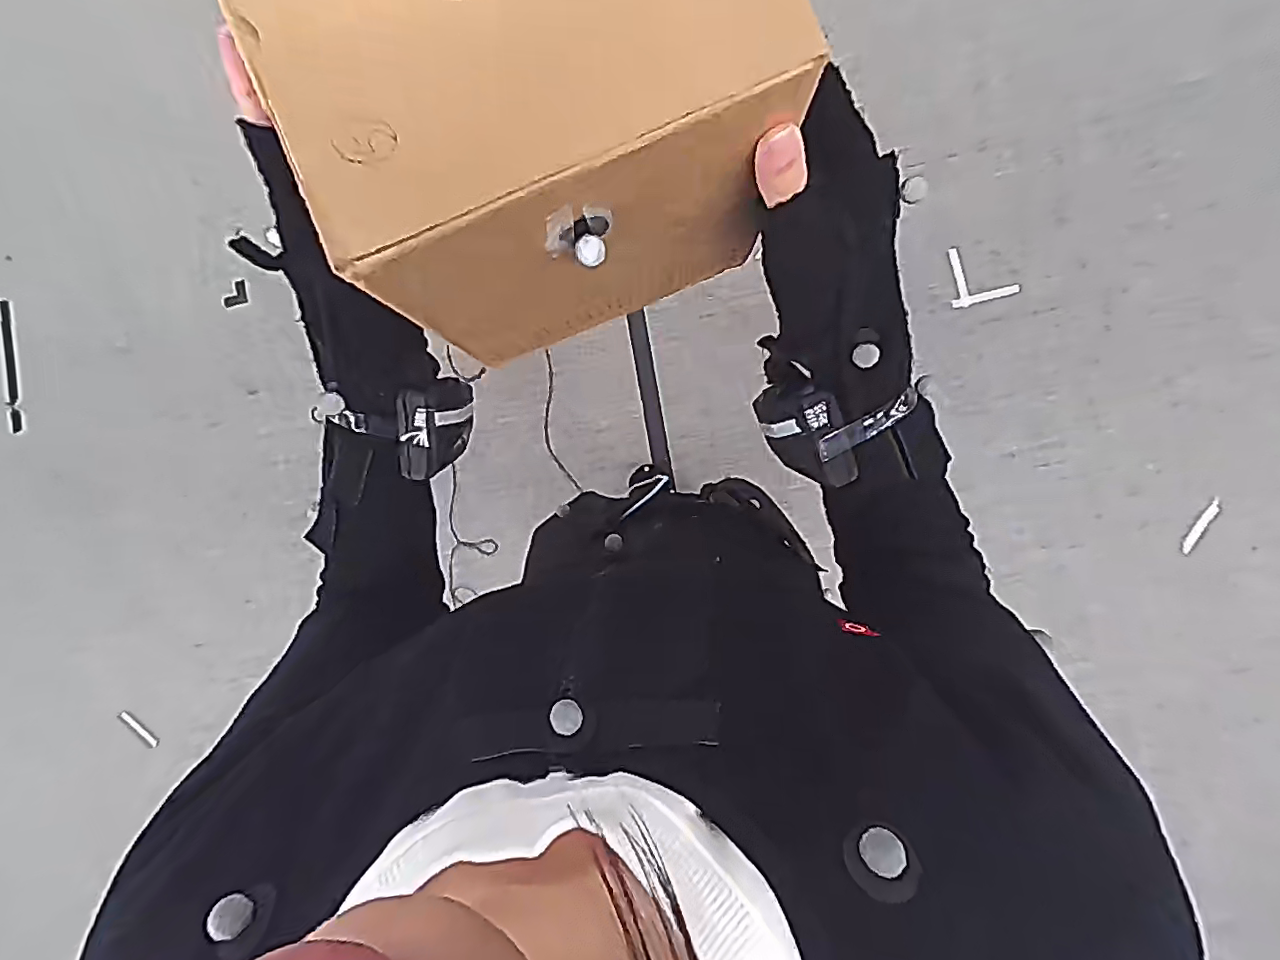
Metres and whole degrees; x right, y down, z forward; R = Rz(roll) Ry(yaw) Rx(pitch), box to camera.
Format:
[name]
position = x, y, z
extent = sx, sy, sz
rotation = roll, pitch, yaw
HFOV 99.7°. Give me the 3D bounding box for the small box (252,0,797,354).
[small box]
position = -0.048, -0.184, 0.275
extent = 0.179, 0.176, 0.168
rotation = -23, 89, 2
